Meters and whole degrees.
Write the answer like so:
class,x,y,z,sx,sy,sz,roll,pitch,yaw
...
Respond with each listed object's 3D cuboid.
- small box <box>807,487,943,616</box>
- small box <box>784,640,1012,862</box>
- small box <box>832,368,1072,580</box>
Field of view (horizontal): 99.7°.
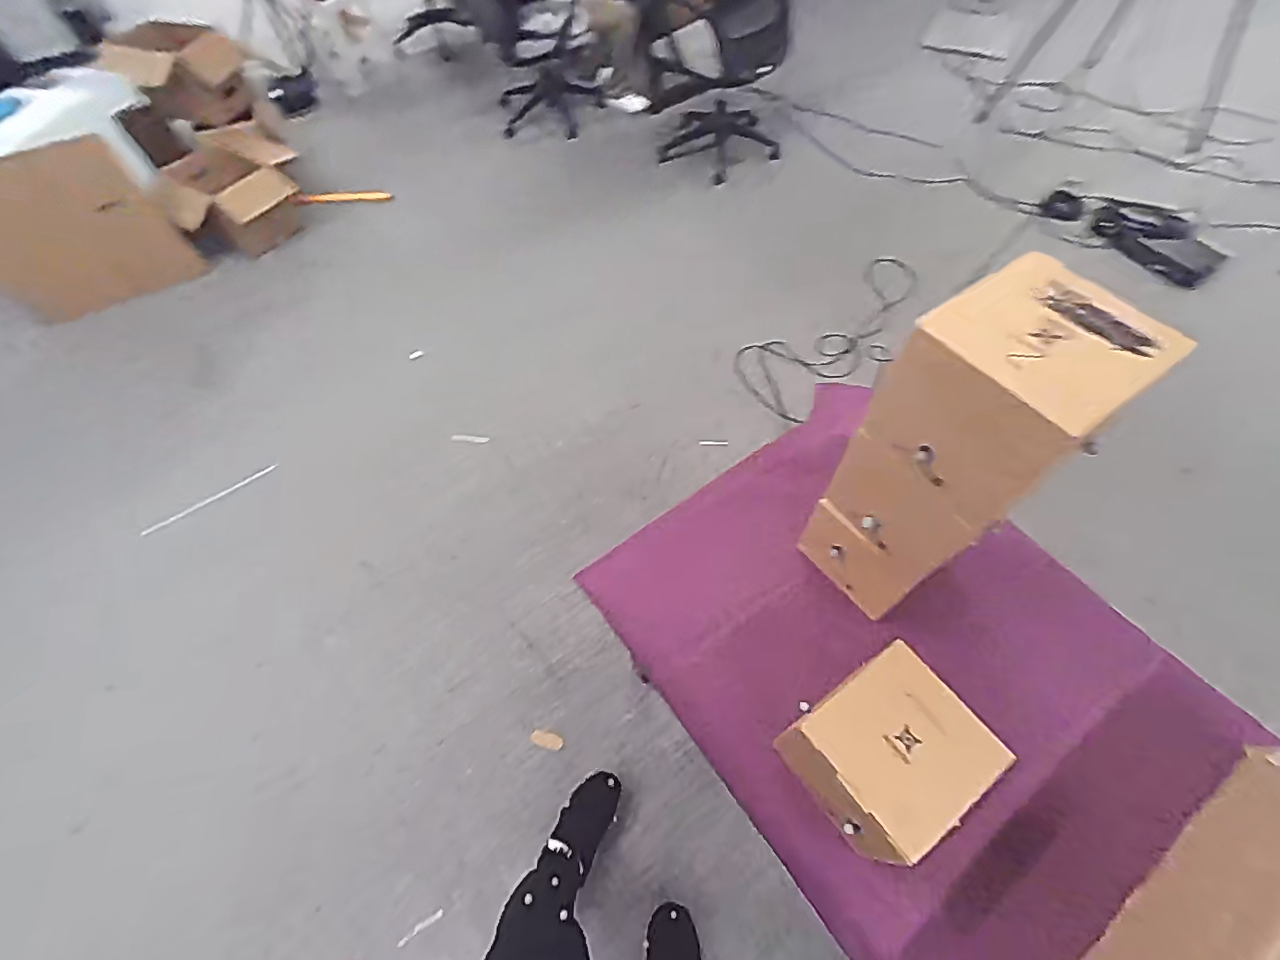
class,x,y,z,sx,sy,sz,roll,pitch,yaw
small box,0.380,0.081,0.834,0.179,0.176,0.168,-33,62,-17
small box,0.301,0.337,0.677,0.179,0.176,0.168,-31,62,-17
small box,0.378,-0.003,0.693,0.179,0.176,0.168,-30,61,-14
